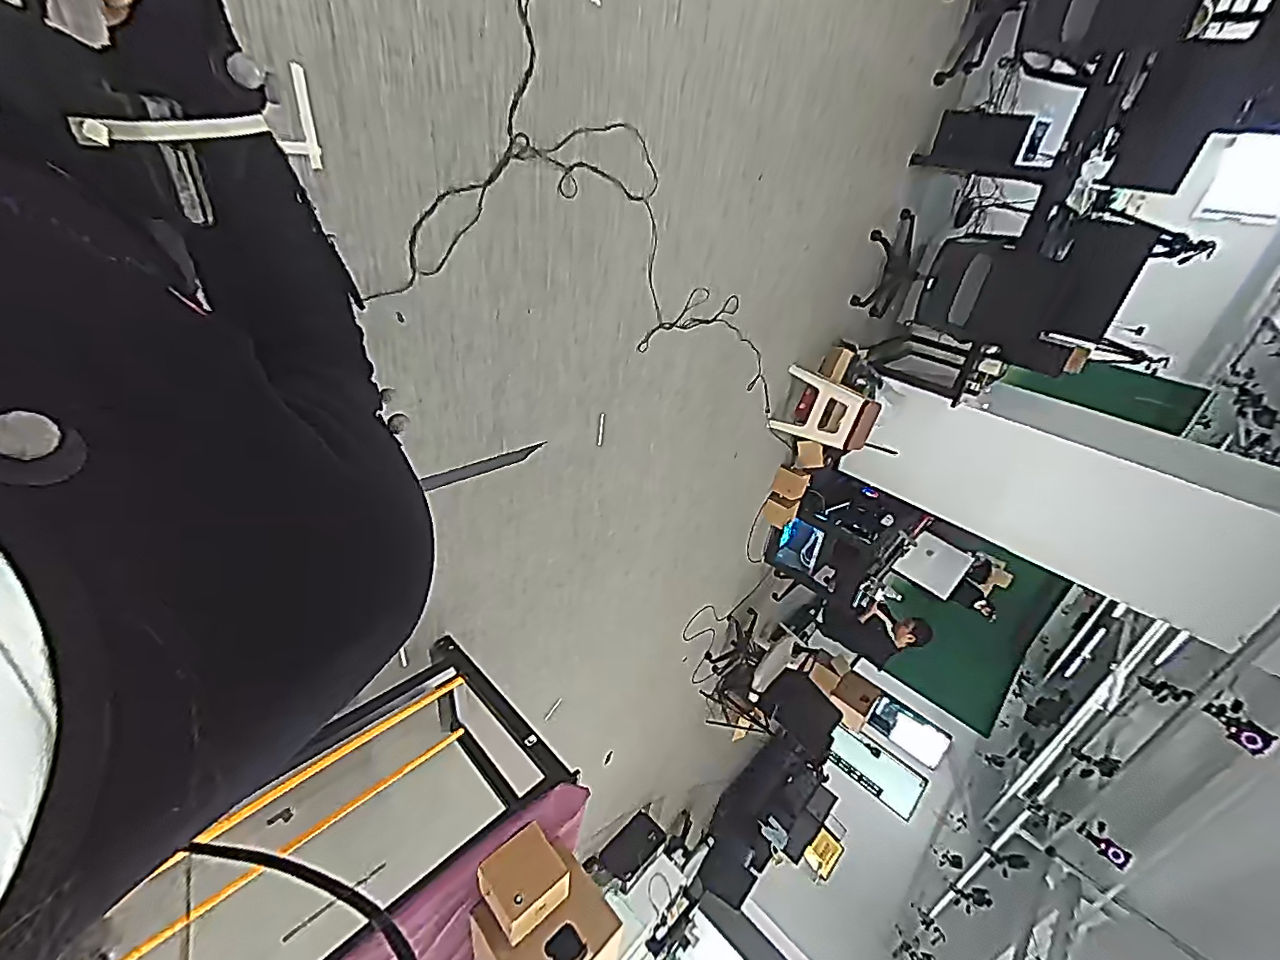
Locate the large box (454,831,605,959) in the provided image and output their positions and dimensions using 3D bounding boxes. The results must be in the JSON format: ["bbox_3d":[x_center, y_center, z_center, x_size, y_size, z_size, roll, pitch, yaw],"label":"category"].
[{"bbox_3d":[-0.327,1.365,1.608,0.320,0.320,0.408,-23,131,-40],"label":"large box"}]
